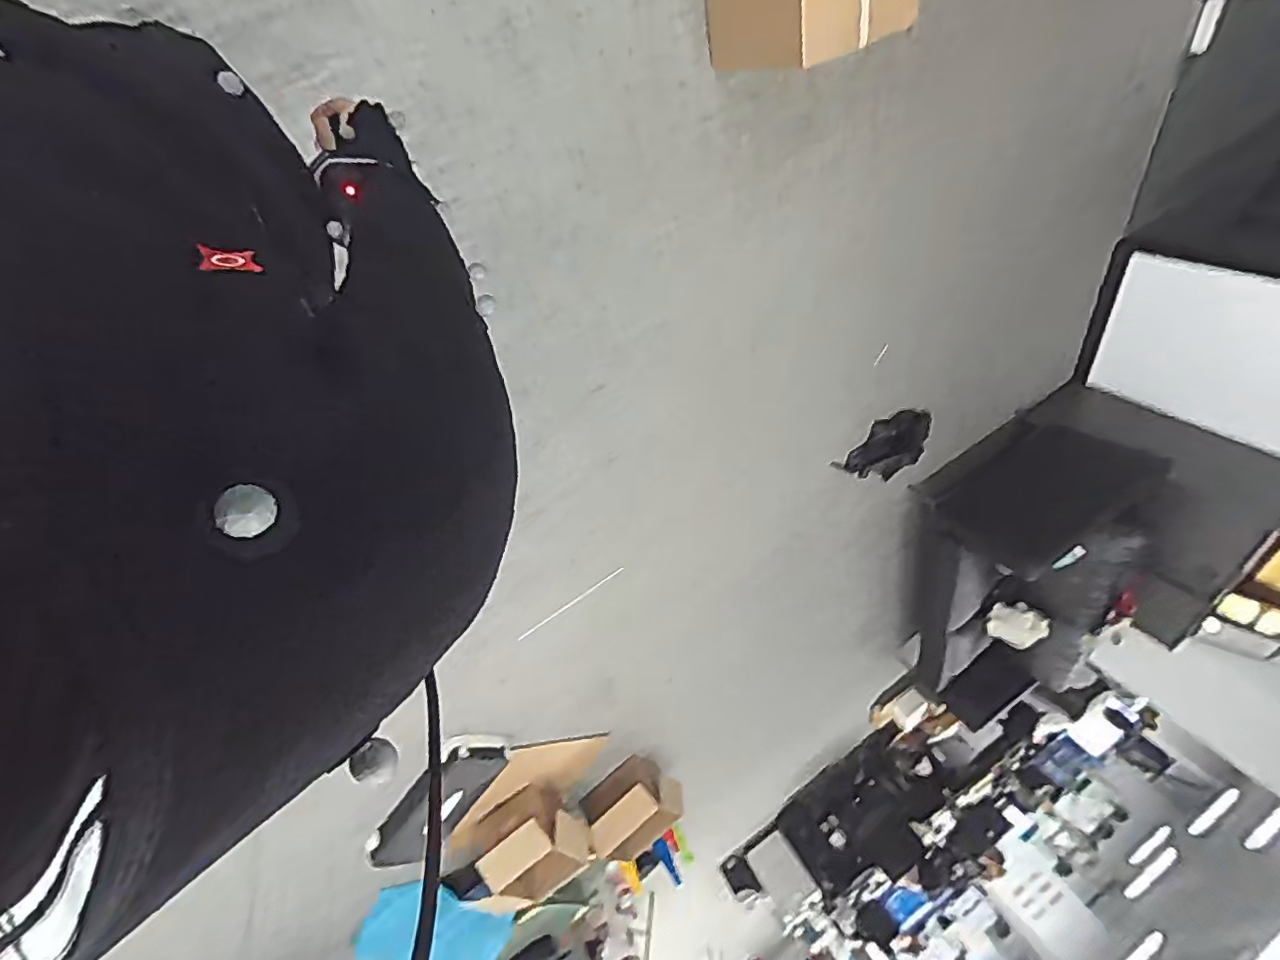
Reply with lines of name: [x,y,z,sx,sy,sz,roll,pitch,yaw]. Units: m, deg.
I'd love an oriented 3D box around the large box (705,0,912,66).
large box: [0.322,-1.109,1.064,0.320,0.320,0.408,-29,136,-12]
